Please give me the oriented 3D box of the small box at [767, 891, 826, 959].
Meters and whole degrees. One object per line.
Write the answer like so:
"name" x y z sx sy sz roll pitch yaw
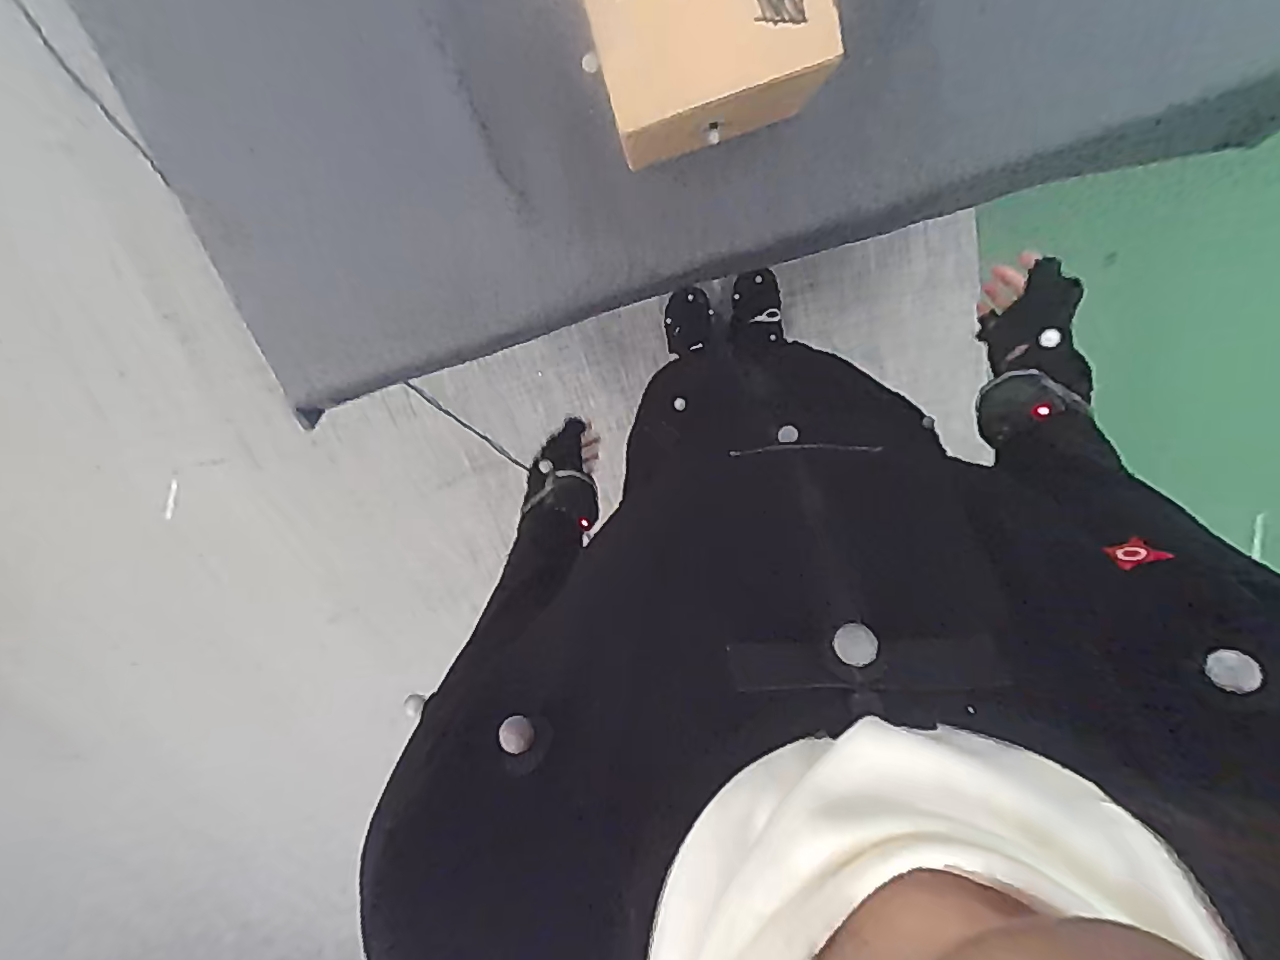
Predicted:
"small box" 0.599 1.736 2.089 0.179 0.176 0.168 -15 111 6

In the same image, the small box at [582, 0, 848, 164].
"small box" 0.049 -0.399 0.461 0.179 0.176 0.168 -19 110 8
